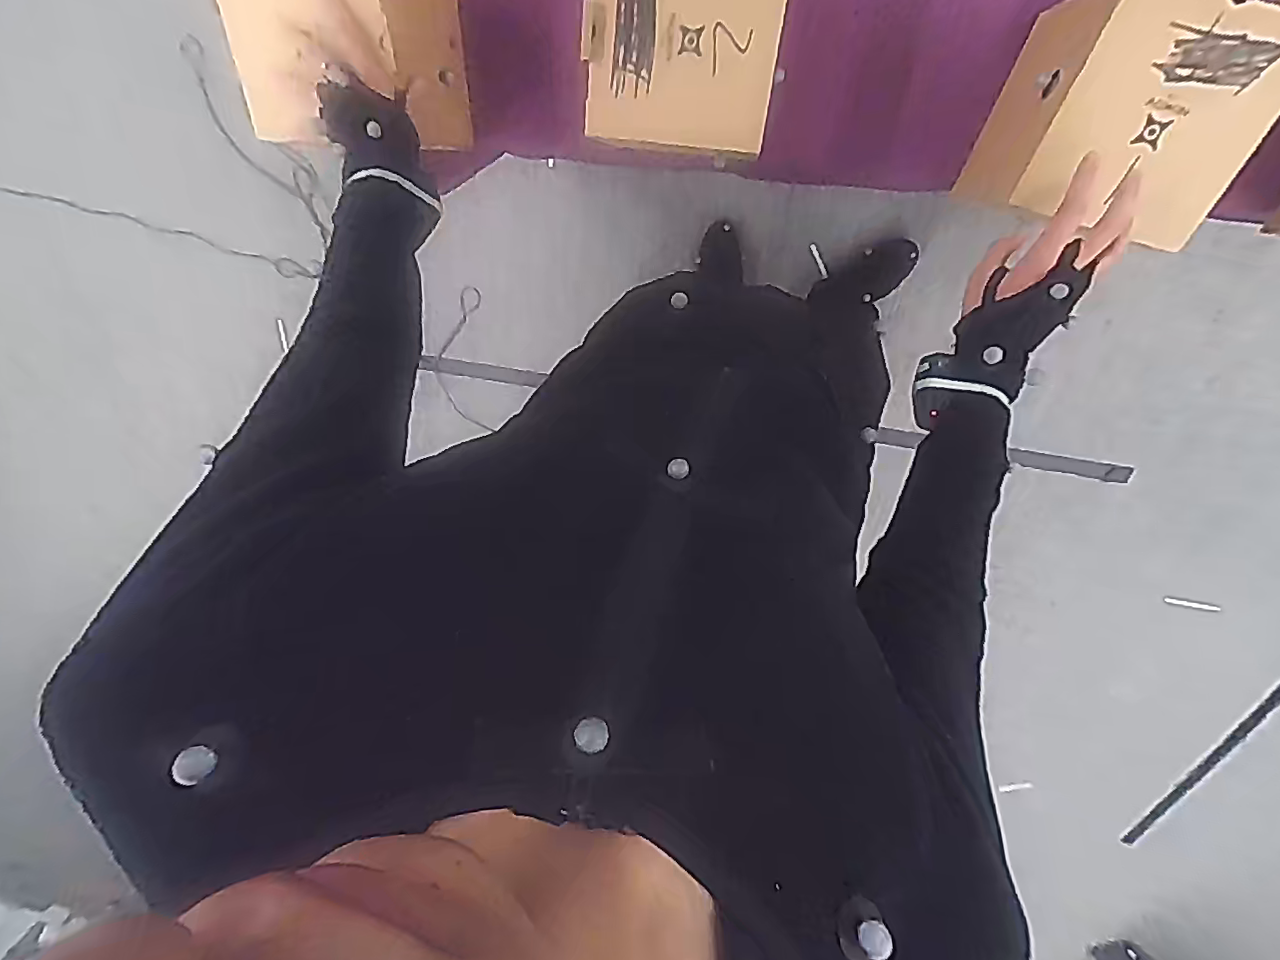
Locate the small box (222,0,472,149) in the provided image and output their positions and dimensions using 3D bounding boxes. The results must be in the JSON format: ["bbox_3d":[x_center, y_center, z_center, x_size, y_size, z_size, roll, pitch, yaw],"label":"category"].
[{"bbox_3d":[-0.312,-0.470,0.603,0.179,0.176,0.168,5,120,7],"label":"small box"}]
